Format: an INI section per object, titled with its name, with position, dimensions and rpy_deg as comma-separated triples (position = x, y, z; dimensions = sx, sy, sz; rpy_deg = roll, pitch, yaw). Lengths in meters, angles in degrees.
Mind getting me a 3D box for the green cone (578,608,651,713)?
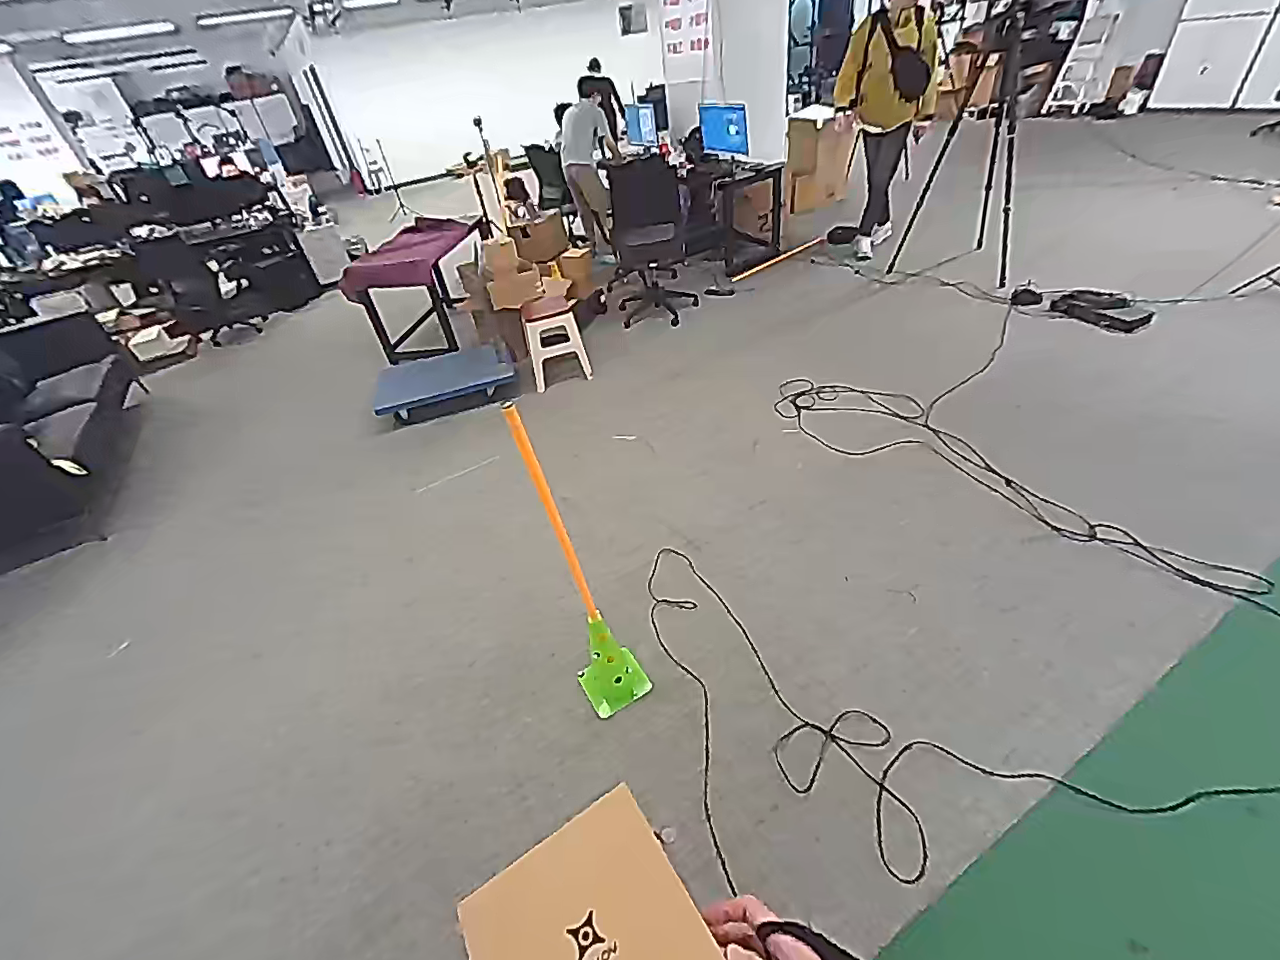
[green cone]
position = -0.108, 0.542, 1.733
dimensions = 0.202, 0.368, 0.200
rpy_deg = -25, 42, -20
